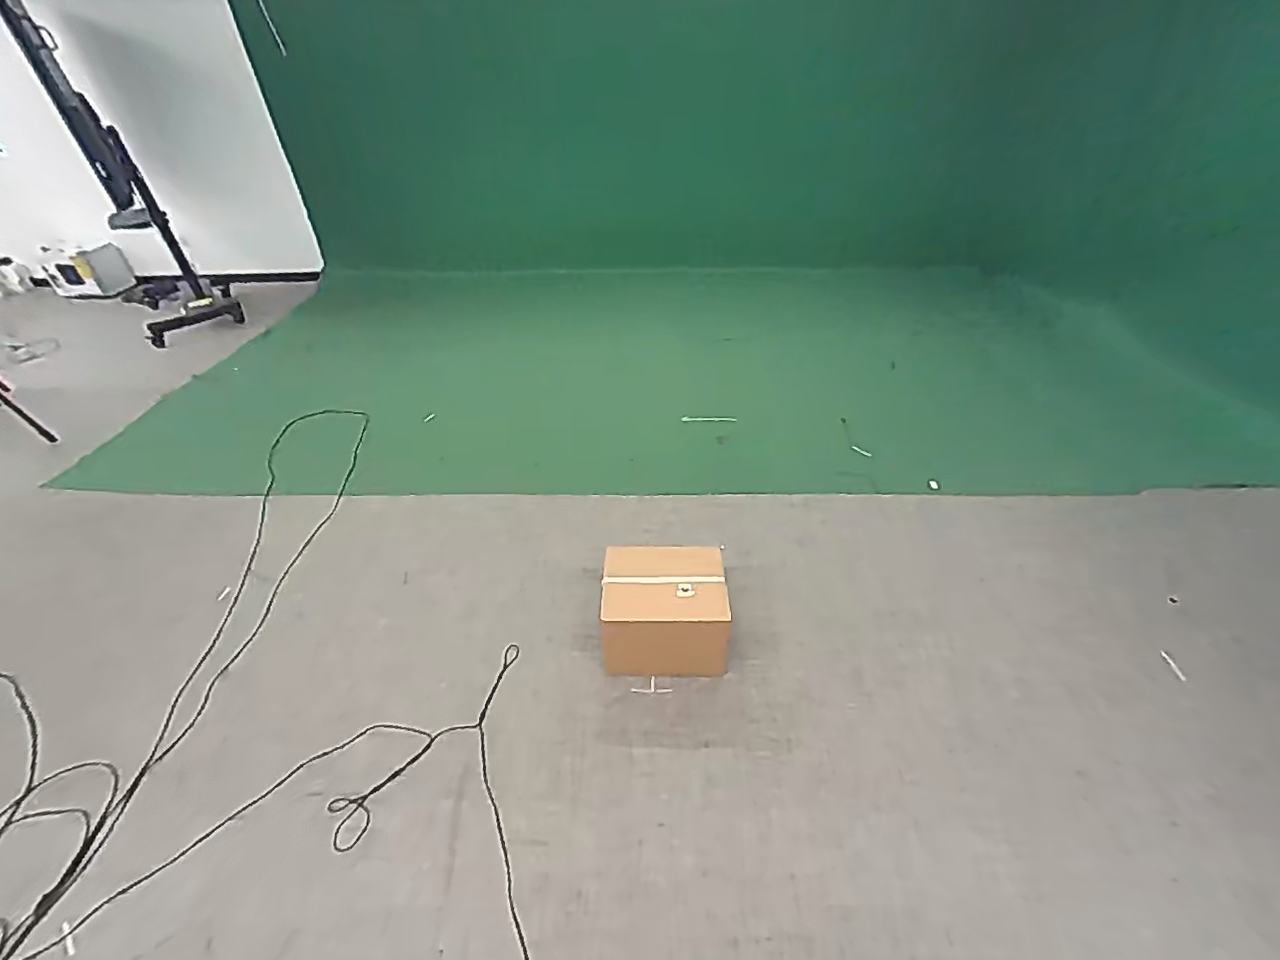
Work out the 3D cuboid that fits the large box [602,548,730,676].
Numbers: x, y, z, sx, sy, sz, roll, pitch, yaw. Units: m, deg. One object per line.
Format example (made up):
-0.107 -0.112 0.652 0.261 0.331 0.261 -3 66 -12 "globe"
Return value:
0.080 0.456 1.873 0.408 0.320 0.320 -1 39 1 "large box"
